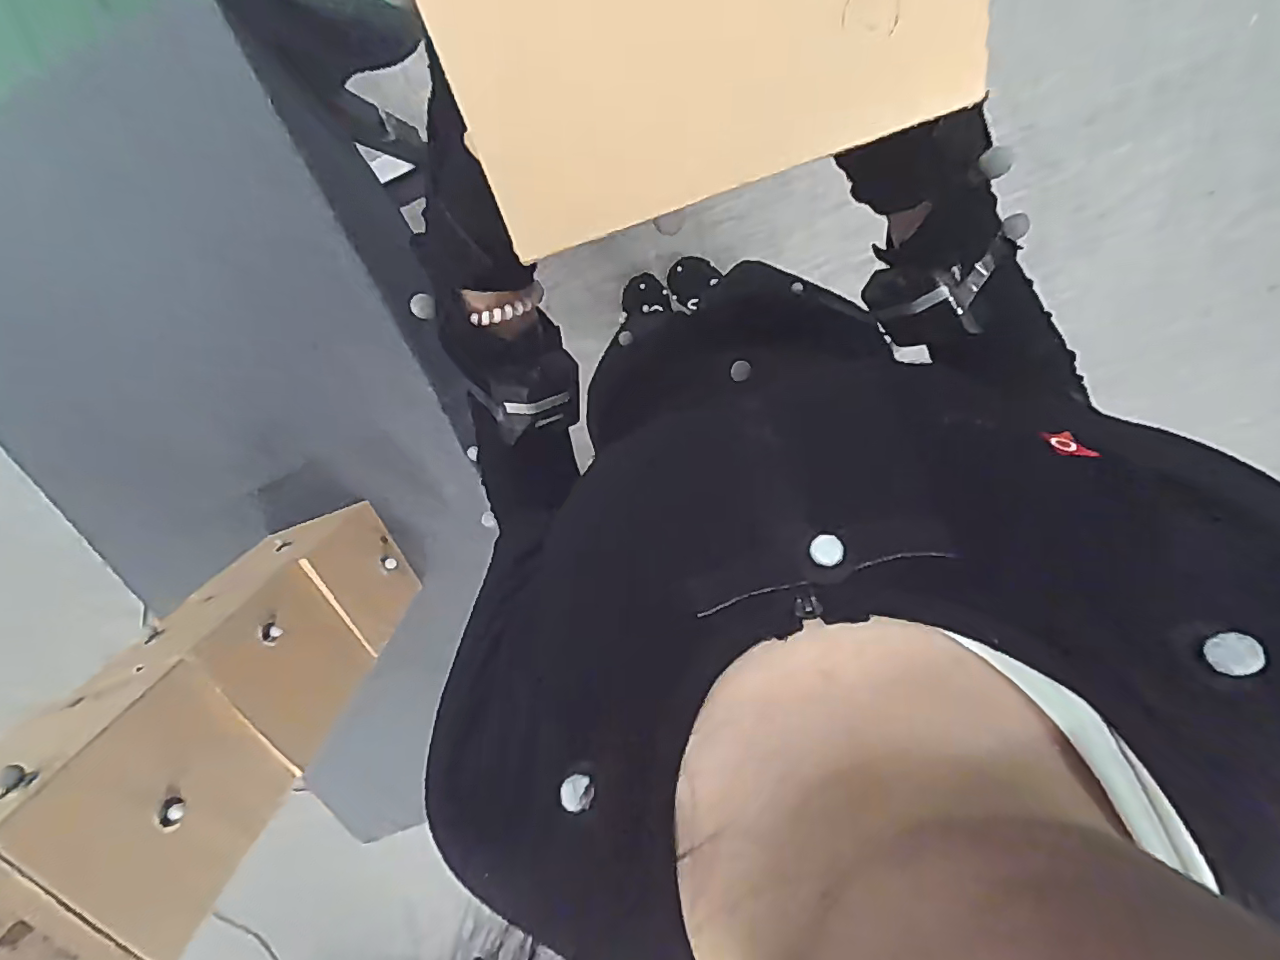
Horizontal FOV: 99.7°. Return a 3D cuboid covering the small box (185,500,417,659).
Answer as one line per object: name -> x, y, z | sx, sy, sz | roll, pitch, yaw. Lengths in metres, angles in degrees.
small box -> -0.448, 0.151, 0.749 | 0.179, 0.176, 0.168 | -19, 111, 7

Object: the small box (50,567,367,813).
small box -> -0.450, 0.218, 0.600 | 0.168, 0.176, 0.179 | -21, 111, 10
